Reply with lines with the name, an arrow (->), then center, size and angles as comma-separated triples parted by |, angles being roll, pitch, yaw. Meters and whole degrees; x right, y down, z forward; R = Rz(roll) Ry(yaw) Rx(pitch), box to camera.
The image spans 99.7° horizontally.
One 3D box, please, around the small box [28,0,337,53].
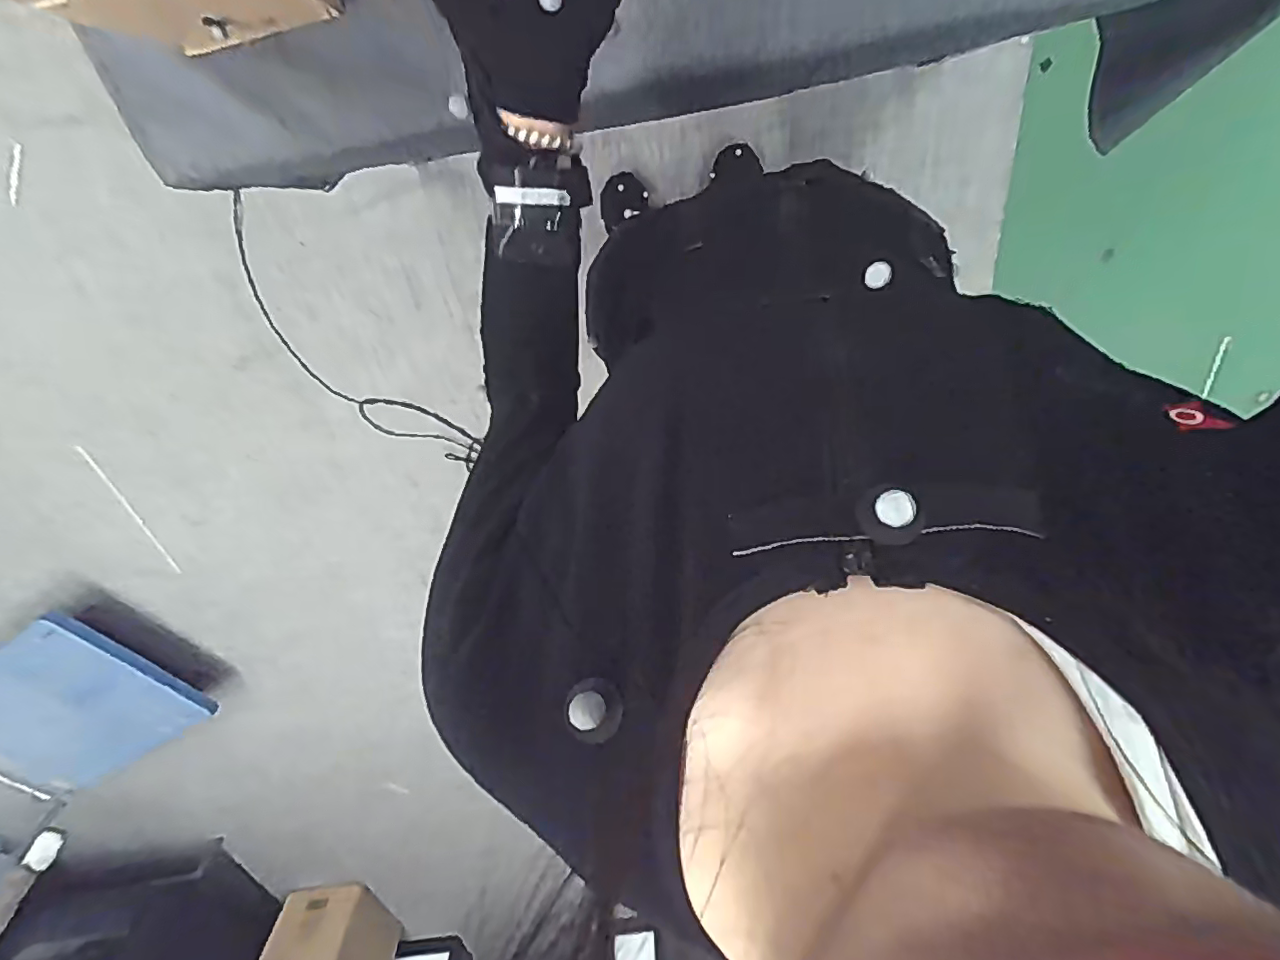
small box -> -0.376, -0.464, 0.411 | 0.168, 0.176, 0.179 | -11, 120, 4
